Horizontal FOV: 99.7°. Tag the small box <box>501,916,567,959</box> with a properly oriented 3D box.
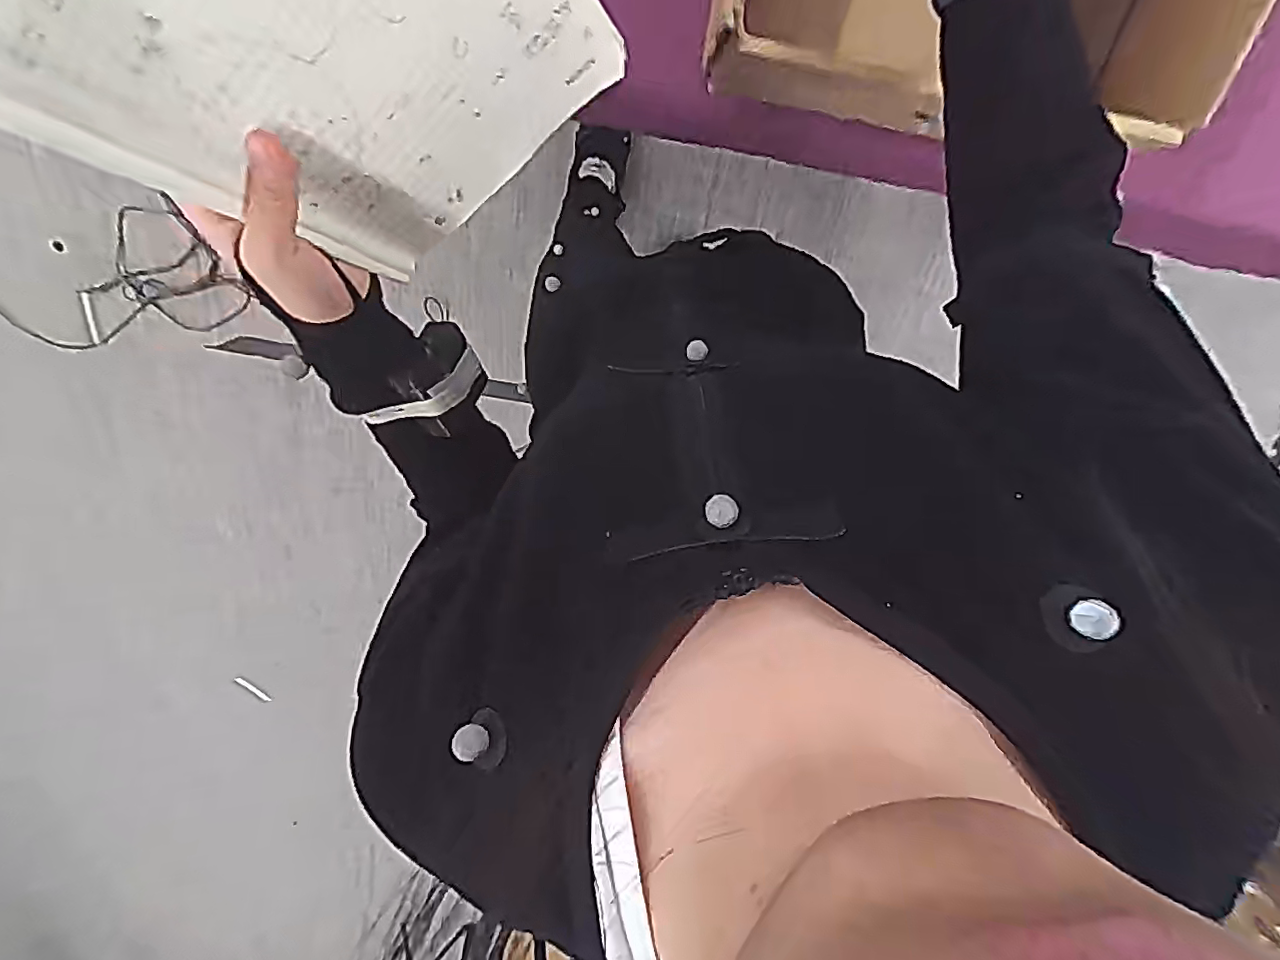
[{"bbox_3d":[-0.307,1.374,1.524,0.168,0.176,0.179,13,118,-9],"label":"small box"}]
